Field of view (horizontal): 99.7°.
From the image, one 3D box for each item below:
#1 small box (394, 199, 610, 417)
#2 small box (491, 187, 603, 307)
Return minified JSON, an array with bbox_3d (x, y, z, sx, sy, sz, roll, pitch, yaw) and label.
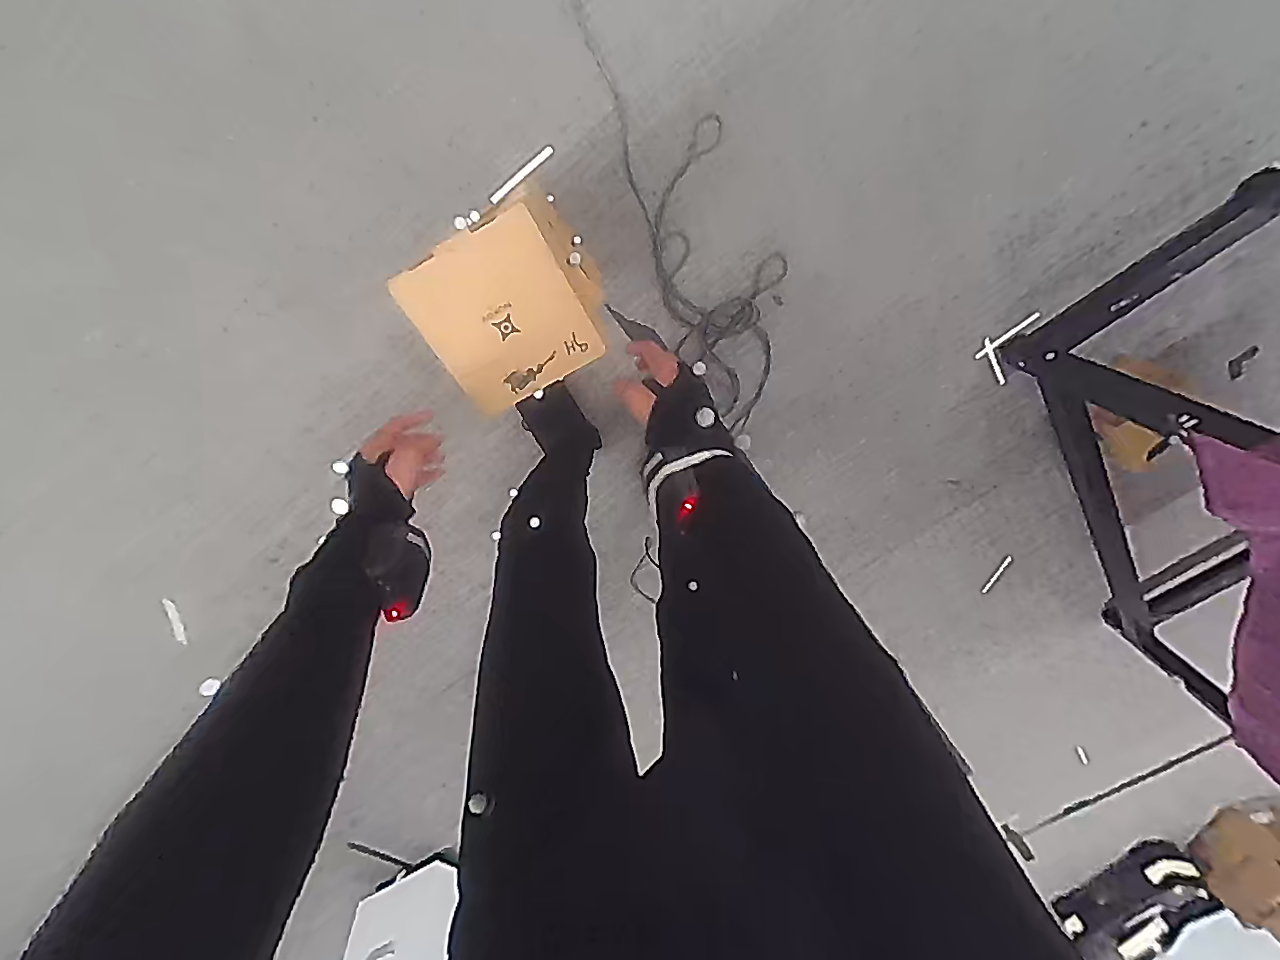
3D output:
[{"bbox_3d":[-0.151,-0.210,0.645,0.168,0.176,0.179,-26,120,8],"label":"small box"},{"bbox_3d":[-0.169,-0.296,0.784,0.179,0.176,0.168,-33,119,12],"label":"small box"}]
